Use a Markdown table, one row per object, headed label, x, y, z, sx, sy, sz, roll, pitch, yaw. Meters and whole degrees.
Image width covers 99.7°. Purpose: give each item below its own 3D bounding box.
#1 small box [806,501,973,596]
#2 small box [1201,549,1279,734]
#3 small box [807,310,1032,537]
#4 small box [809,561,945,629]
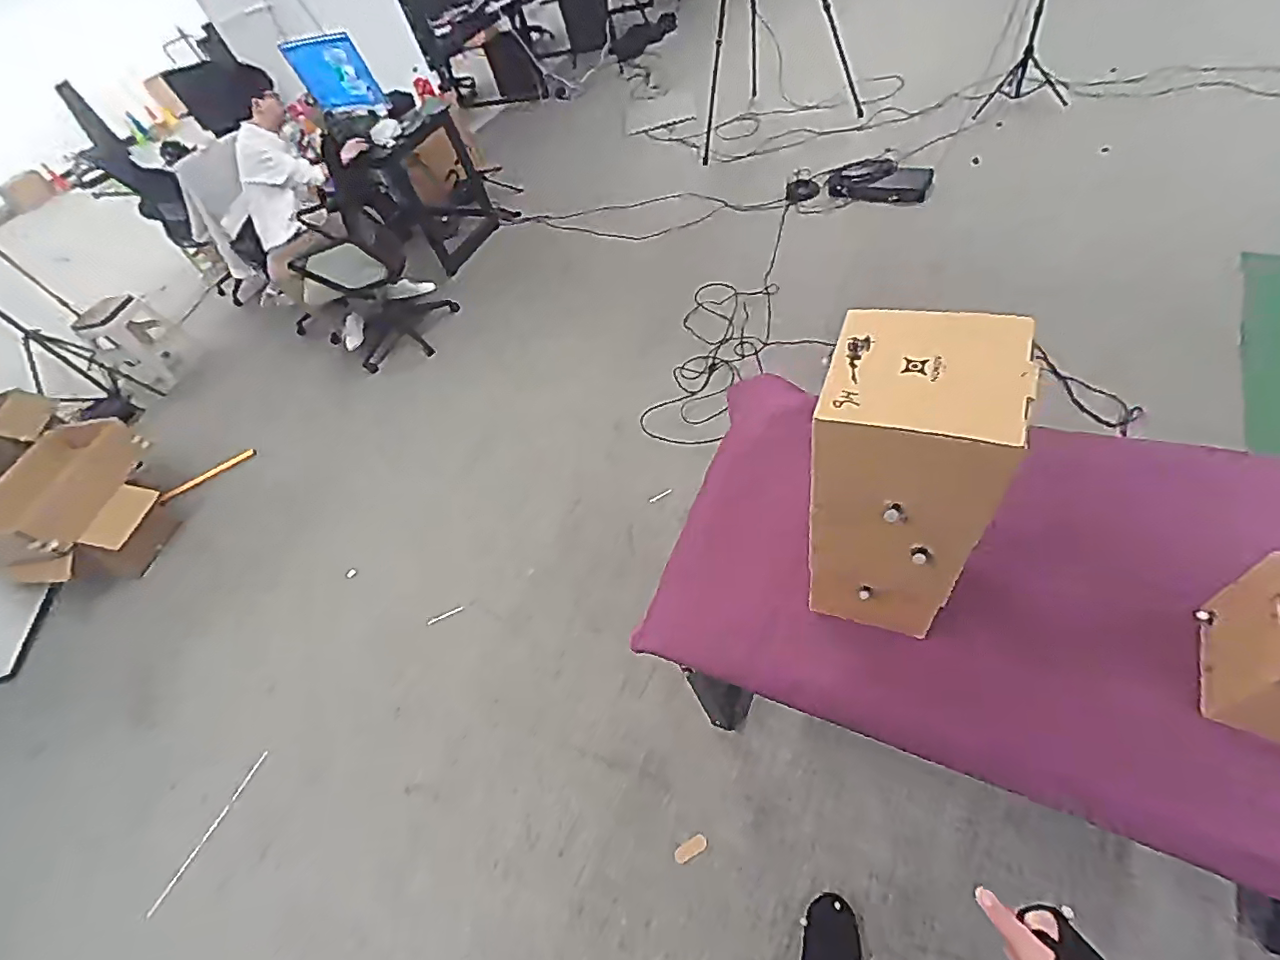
| label | x | y | z | sx | sy | sz | roll | pitch | yaw |
| --- | --- | --- | --- | --- | --- | --- | --- | --- | --- |
| small box | 0.329 | 0.034 | 0.713 | 0.179 | 0.176 | 0.168 | 13 | 59 | 26 |
| small box | 0.814 | 0.211 | 0.634 | 0.179 | 0.176 | 0.168 | 16 | 61 | 27 |
| small box | 0.288 | -0.058 | 0.584 | 0.179 | 0.176 | 0.168 | 13 | 59 | 25 |
| small box | 0.374 | 0.117 | 0.850 | 0.179 | 0.176 | 0.168 | 11 | 59 | 25 |
